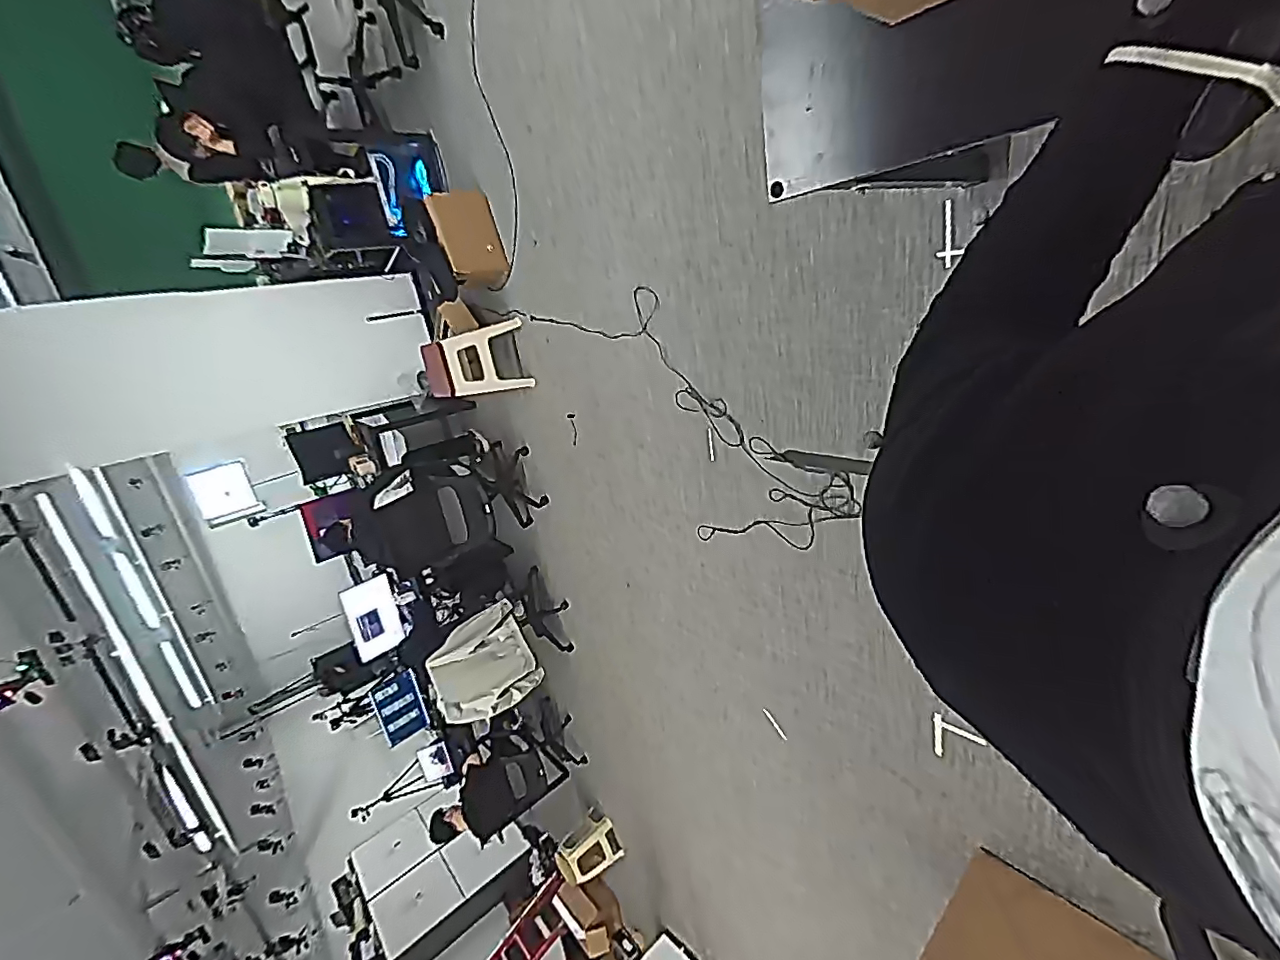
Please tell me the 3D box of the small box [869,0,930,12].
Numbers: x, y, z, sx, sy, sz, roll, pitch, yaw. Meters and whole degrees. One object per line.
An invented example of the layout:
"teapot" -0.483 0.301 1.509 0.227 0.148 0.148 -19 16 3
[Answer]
"small box" 0.292 -0.595 0.519 0.179 0.176 0.168 14 120 47
